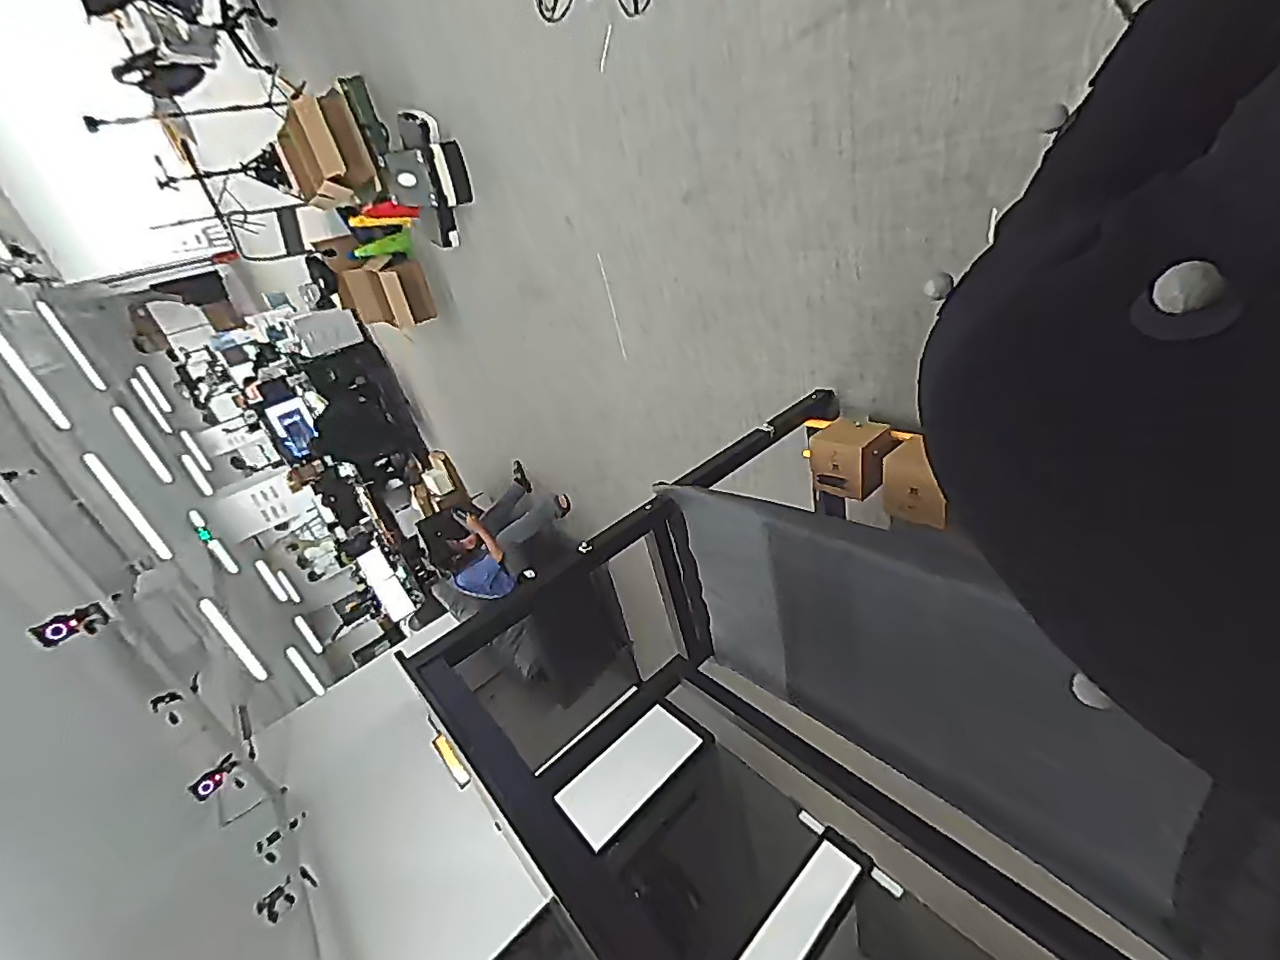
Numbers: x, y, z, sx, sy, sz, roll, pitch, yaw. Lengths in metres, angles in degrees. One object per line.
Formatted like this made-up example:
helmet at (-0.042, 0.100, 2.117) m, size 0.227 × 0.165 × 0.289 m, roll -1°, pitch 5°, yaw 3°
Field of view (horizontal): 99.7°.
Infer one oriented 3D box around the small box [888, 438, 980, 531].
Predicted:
small box at (0.782, 0.004, 1.440) m, size 0.168 × 0.176 × 0.179 m, roll 18°, pitch 130°, yaw 48°
